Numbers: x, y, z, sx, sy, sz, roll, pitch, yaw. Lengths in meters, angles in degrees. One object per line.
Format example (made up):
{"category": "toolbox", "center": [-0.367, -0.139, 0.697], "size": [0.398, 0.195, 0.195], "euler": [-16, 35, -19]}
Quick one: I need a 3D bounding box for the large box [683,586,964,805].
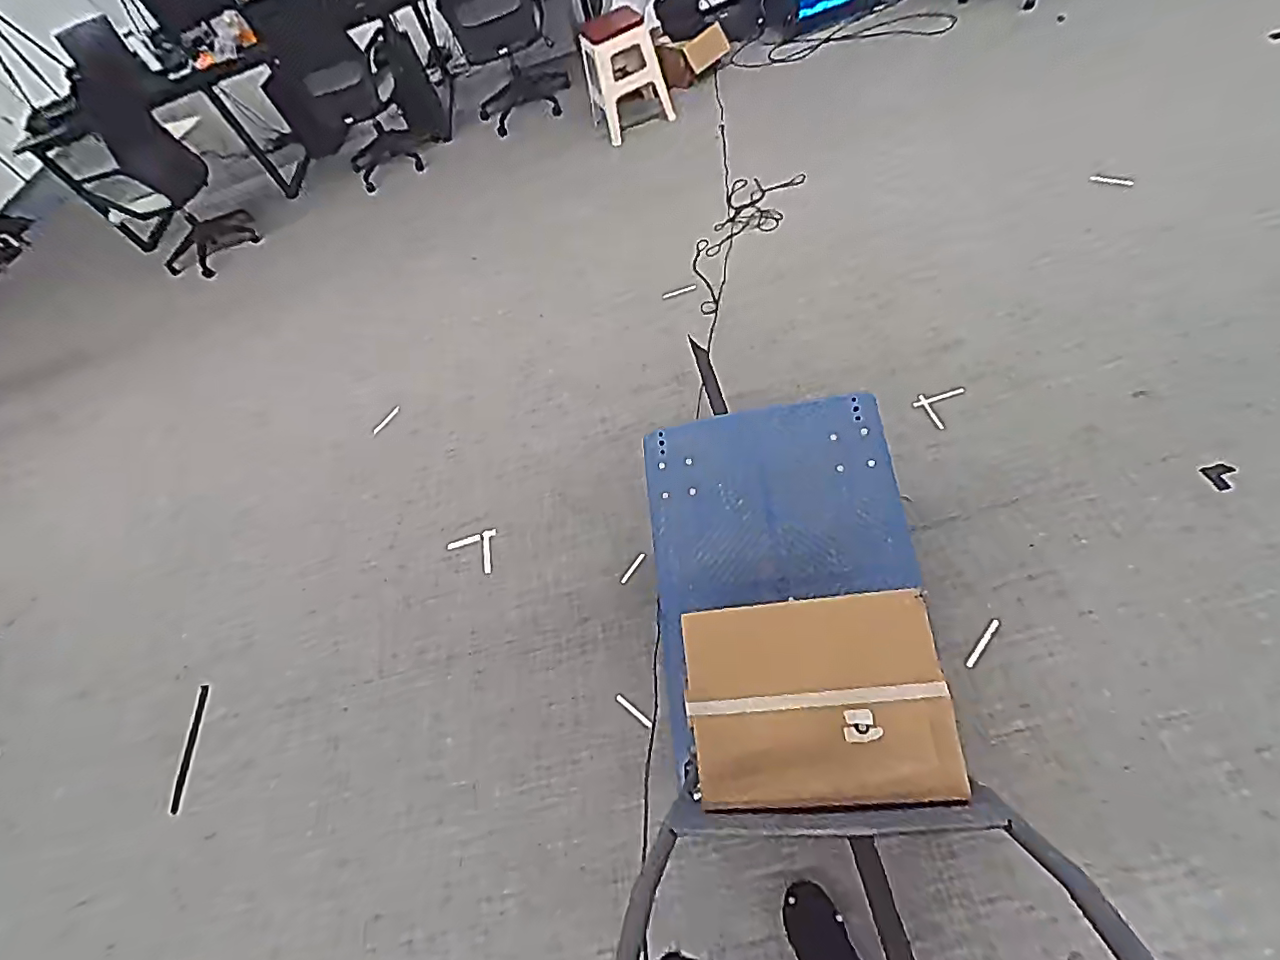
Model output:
{"category": "large box", "center": [0.318, 0.399, 1.038], "size": [0.408, 0.320, 0.320], "euler": [-9, 73, 11]}
